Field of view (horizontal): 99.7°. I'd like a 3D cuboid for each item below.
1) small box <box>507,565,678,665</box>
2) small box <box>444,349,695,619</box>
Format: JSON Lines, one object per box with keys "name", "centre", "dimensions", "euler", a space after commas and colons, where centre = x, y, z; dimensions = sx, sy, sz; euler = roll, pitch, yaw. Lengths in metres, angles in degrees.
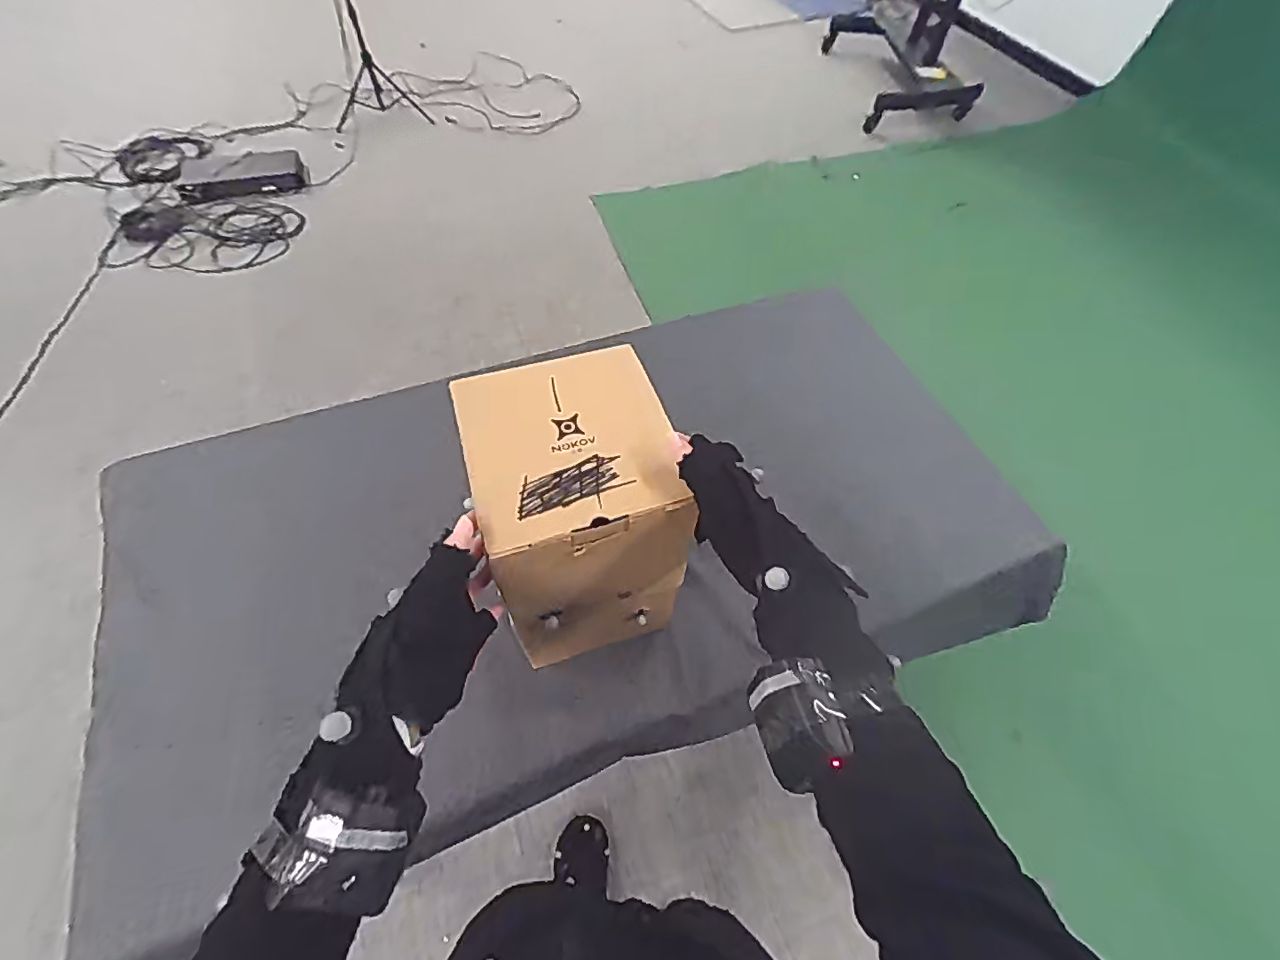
{"name": "small box", "centre": [-0.069, 0.099, 0.647], "dimensions": [0.179, 0.176, 0.168], "euler": [-16, 58, -11]}
{"name": "small box", "centre": [-0.064, 0.013, 0.507], "dimensions": [0.168, 0.176, 0.179], "euler": [-18, 60, -14]}
